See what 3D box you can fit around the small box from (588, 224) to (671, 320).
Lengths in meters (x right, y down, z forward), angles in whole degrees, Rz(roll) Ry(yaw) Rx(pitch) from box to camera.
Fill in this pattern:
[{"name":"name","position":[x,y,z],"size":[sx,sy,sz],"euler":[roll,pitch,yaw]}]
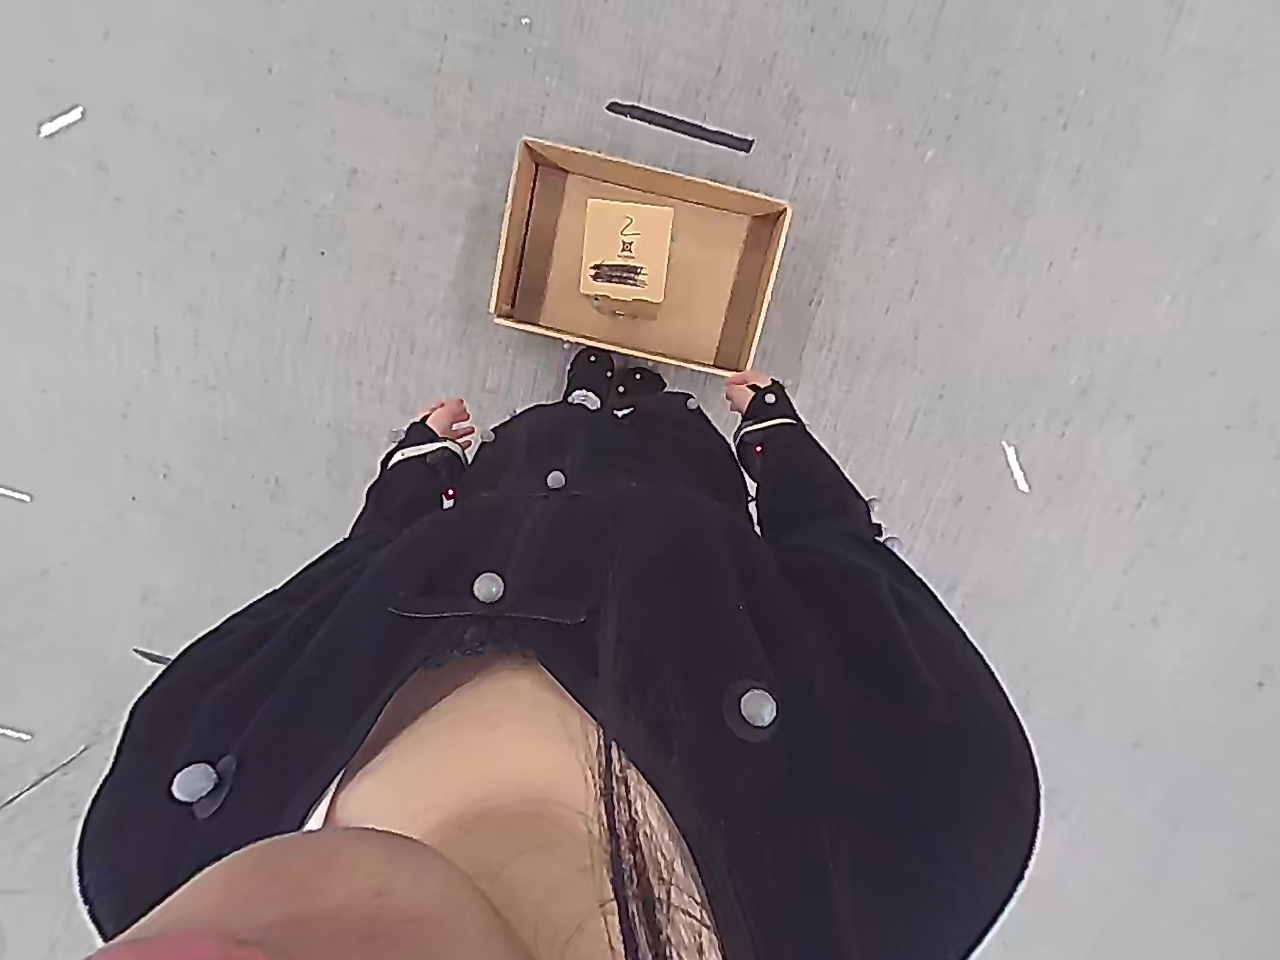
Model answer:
[{"name":"small box","position":[-0.024,-0.483,1.276],"size":[0.168,0.176,0.179],"euler":[8,103,0]}]
